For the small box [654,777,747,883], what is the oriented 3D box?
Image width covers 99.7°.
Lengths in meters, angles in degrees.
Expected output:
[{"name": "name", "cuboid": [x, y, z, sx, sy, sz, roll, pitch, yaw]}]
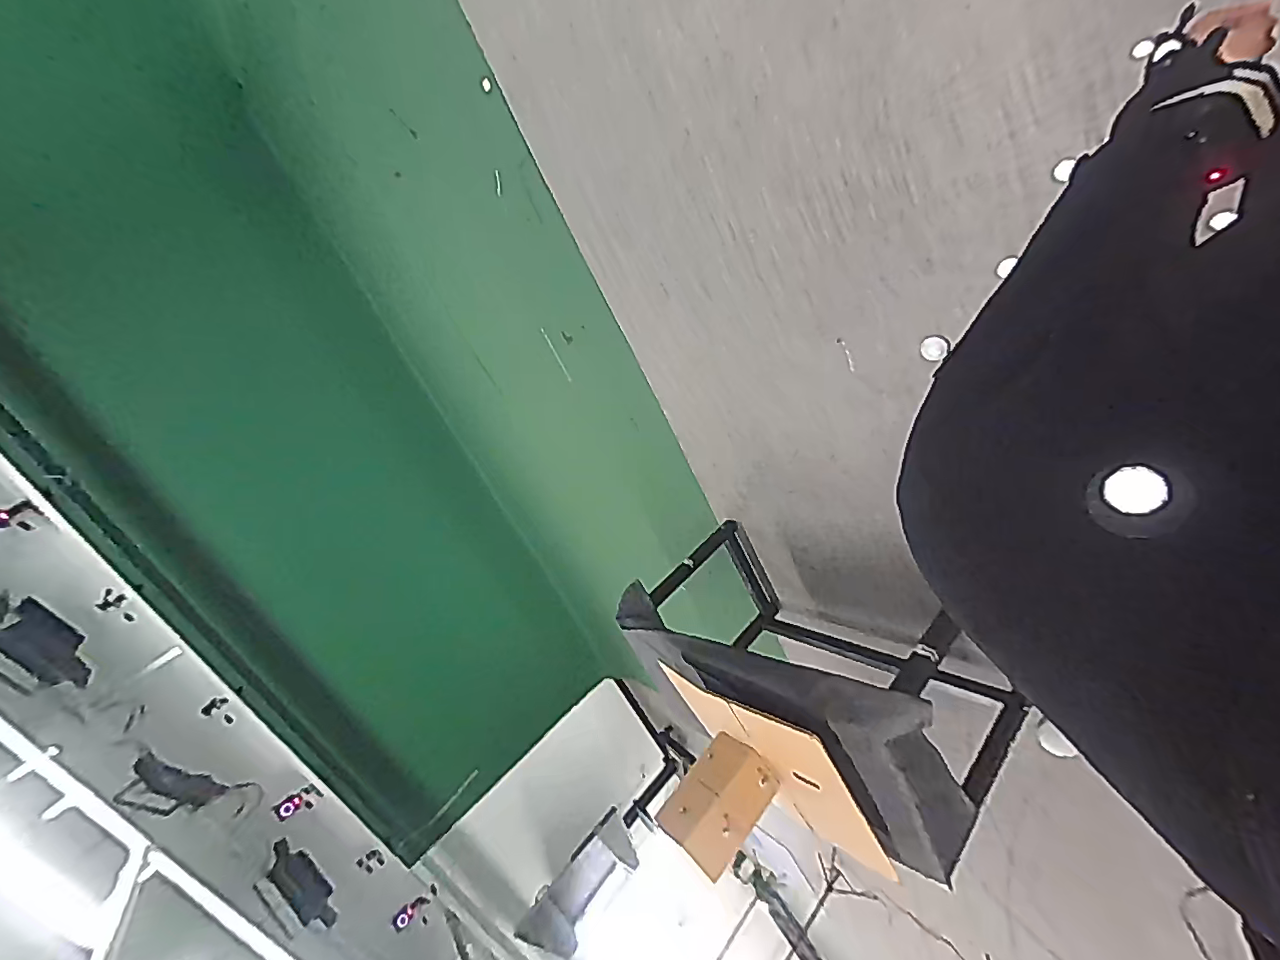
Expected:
[{"name": "small box", "cuboid": [0.178, 1.011, 1.584, 0.168, 0.176, 0.179, 54, 154, -11]}]

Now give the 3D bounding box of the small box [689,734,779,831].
[{"name": "small box", "cuboid": [0.289, 0.911, 1.652, 0.168, 0.176, 0.179, 54, 154, -12]}]
